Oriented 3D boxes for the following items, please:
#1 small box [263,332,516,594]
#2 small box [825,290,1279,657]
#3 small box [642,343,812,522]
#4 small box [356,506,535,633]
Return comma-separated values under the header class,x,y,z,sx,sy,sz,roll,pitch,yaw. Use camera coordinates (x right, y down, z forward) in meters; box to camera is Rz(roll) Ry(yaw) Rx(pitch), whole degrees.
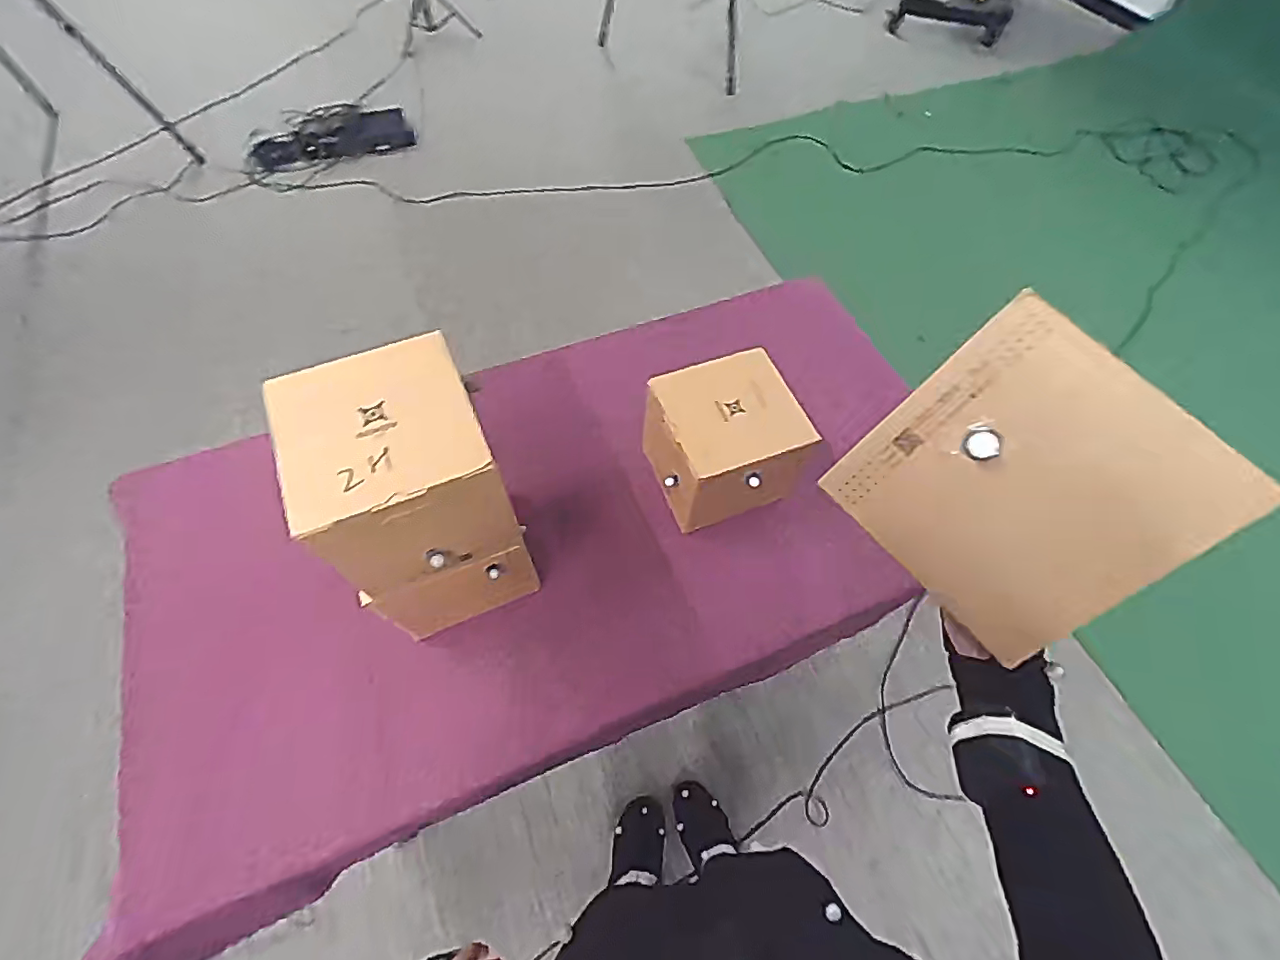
class,x,y,z,sx,sy,sz,roll,pitch,yaw
small box,-0.241,-0.012,0.551,0.168,0.176,0.179,-23,64,-14
small box,0.263,-0.015,0.395,0.176,0.168,0.179,47,26,13
small box,0.110,-0.061,0.775,0.179,0.176,0.168,-19,64,-12
small box,-0.251,0.074,0.692,0.179,0.176,0.168,-22,64,-14
